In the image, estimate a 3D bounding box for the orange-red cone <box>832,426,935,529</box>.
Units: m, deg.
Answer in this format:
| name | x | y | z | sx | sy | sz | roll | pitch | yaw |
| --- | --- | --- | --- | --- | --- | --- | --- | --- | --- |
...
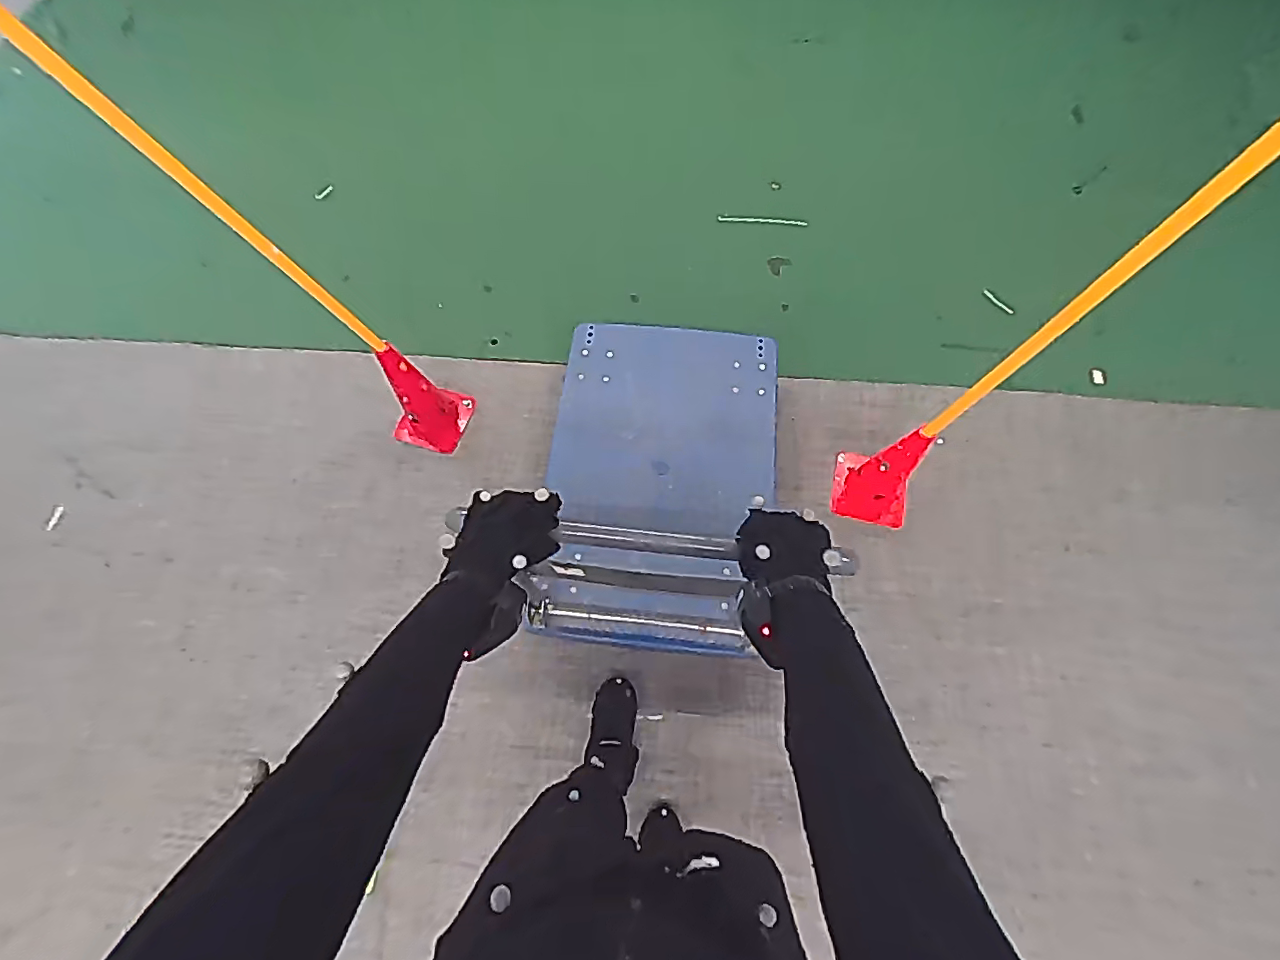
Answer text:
| name | x | y | z | sx | sy | sz | roll | pitch | yaw |
| --- | --- | --- | --- | --- | --- | --- | --- | --- | --- |
| orange-red cone | 0.646 | -0.035 | 1.367 | 0.198 | 0.360 | 0.199 | 14 | 69 | 7 |
